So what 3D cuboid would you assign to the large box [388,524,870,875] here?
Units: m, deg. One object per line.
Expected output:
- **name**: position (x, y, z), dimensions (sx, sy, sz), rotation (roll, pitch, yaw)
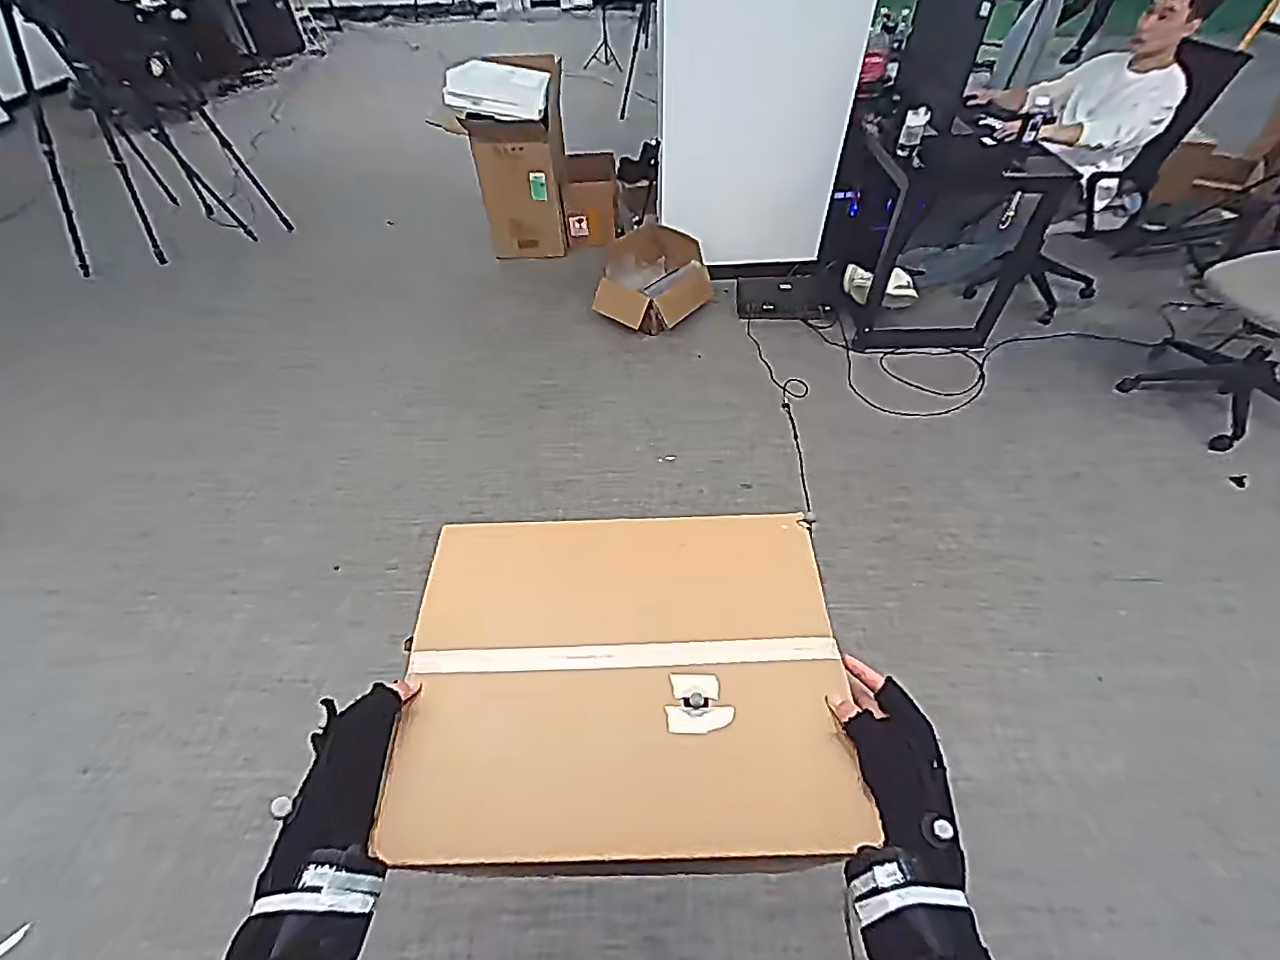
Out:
- **large box**: position (-0.011, 0.269, 0.645), dimensions (0.408, 0.320, 0.320), rotation (-1, 53, 0)
